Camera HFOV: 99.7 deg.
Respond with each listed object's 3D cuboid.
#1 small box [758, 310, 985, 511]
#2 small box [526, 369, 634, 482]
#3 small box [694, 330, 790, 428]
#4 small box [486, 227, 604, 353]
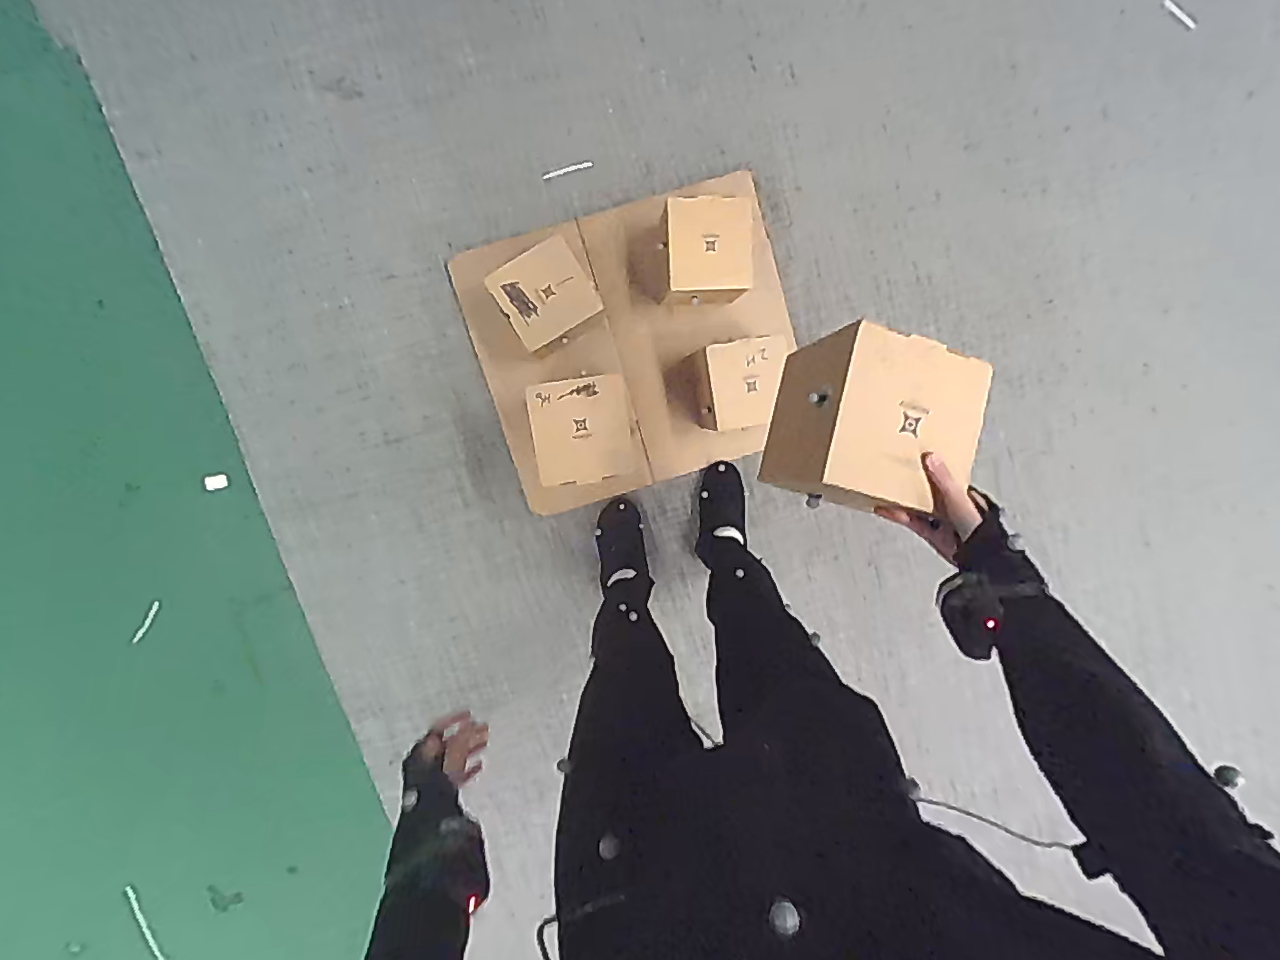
[{"bbox_3d":[0.260,-0.070,0.643,0.168,0.176,0.179,16,86,-10],"label":"small box"},{"bbox_3d":[-0.104,-0.104,0.988,0.168,0.176,0.179,-8,99,-4],"label":"small box"},{"bbox_3d":[0.218,-0.213,1.157,0.168,0.176,0.179,-10,98,-3],"label":"small box"},{"bbox_3d":[-0.185,-0.378,1.113,0.179,0.176,0.168,-31,99,-1],"label":"small box"}]
